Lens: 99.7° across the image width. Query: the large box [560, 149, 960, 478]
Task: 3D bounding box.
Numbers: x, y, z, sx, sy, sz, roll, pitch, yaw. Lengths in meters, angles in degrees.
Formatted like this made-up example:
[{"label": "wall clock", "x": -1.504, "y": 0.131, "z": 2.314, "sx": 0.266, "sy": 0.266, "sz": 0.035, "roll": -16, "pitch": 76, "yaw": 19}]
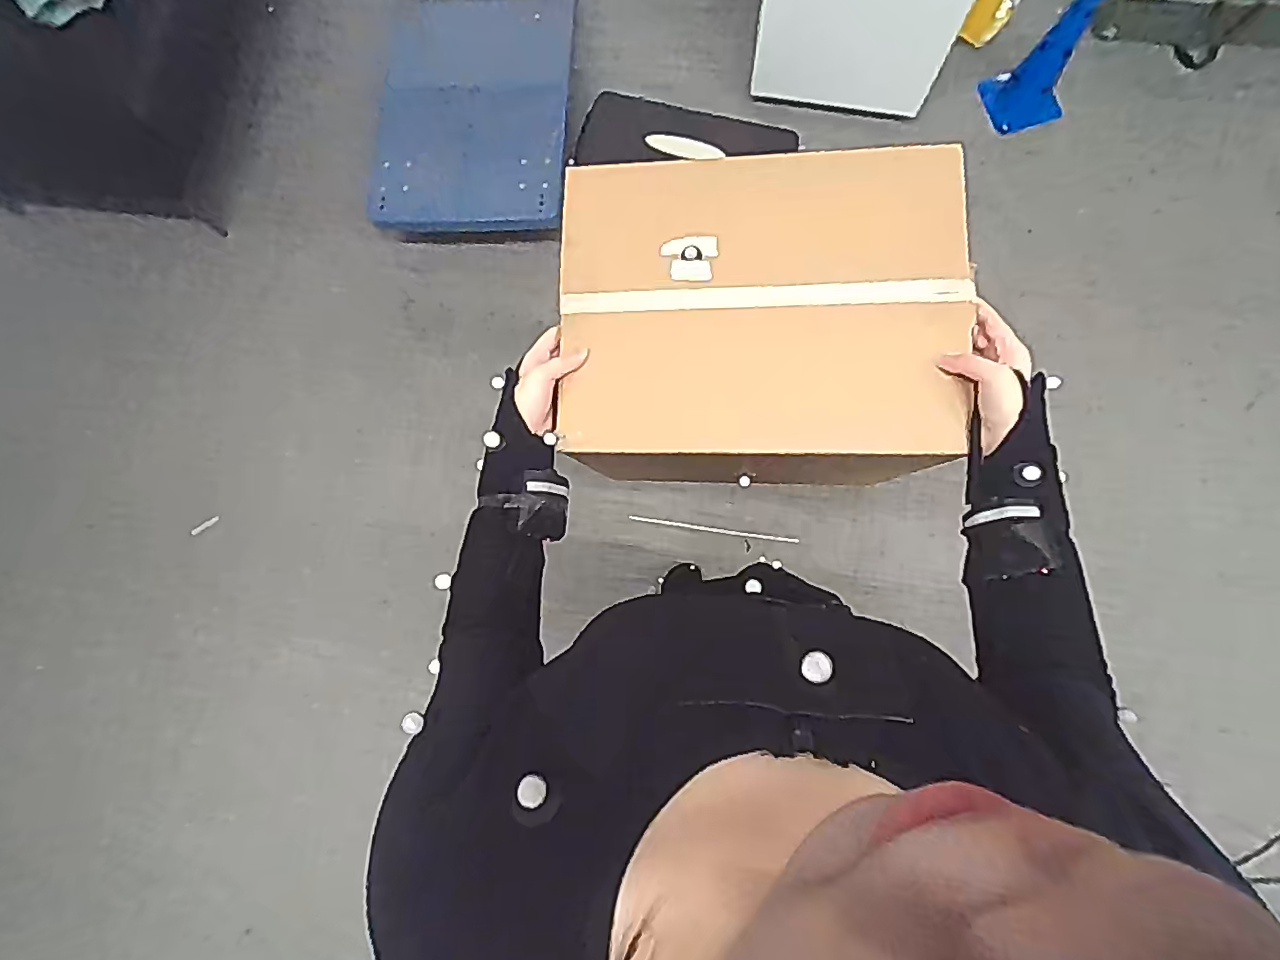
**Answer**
[{"label": "large box", "x": 0.135, "y": -0.168, "z": 0.706, "sx": 0.408, "sy": 0.320, "sz": 0.320, "roll": 0, "pitch": 84, "yaw": 9}]
